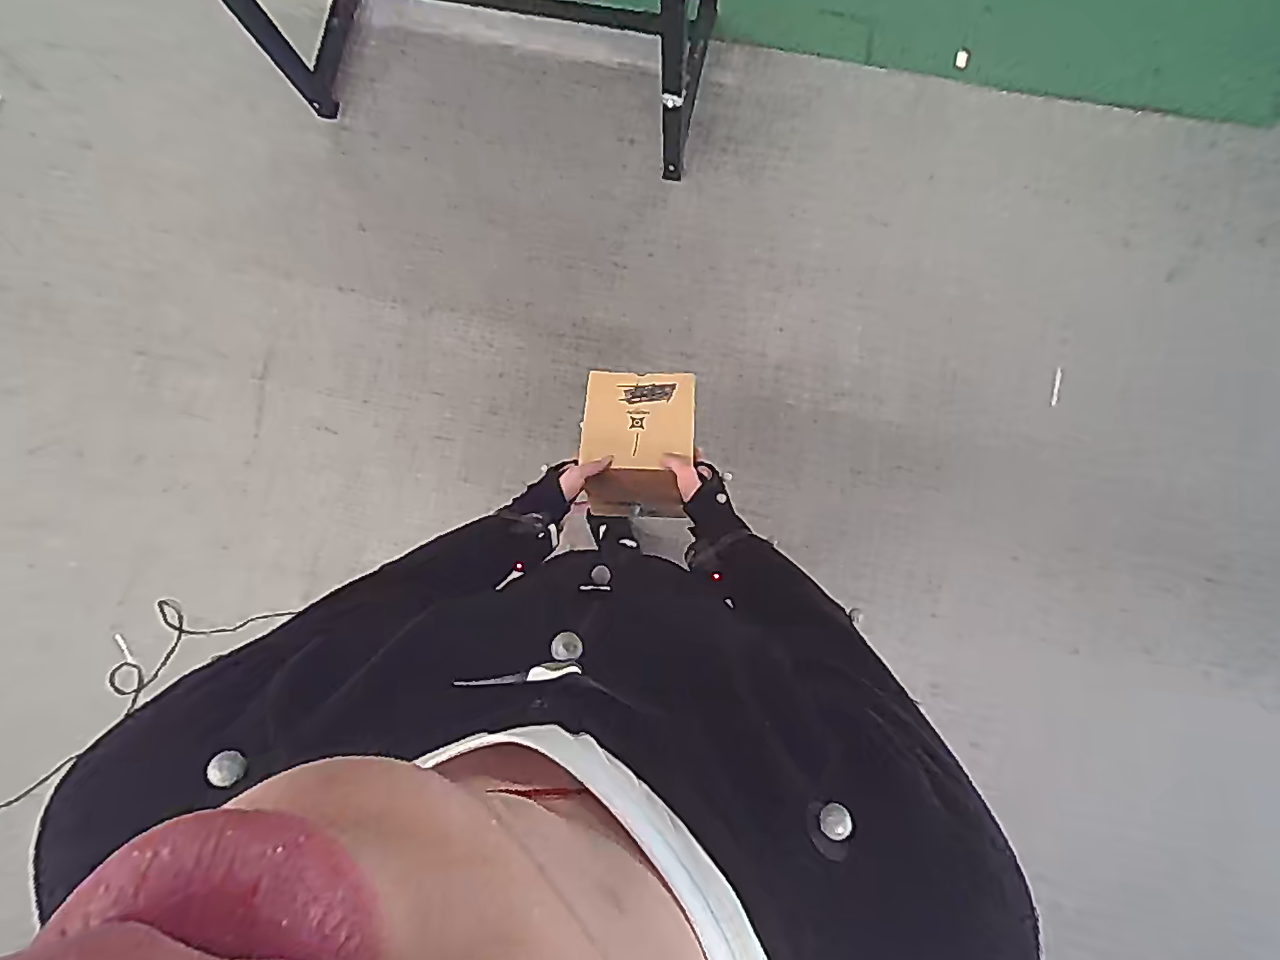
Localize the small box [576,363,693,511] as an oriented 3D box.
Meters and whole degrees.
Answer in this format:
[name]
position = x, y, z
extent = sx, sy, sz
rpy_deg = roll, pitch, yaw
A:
[small box]
position = -0.003, -0.066, 0.874
extent = 0.168, 0.176, 0.179
rpy_deg = 2, 63, 4
